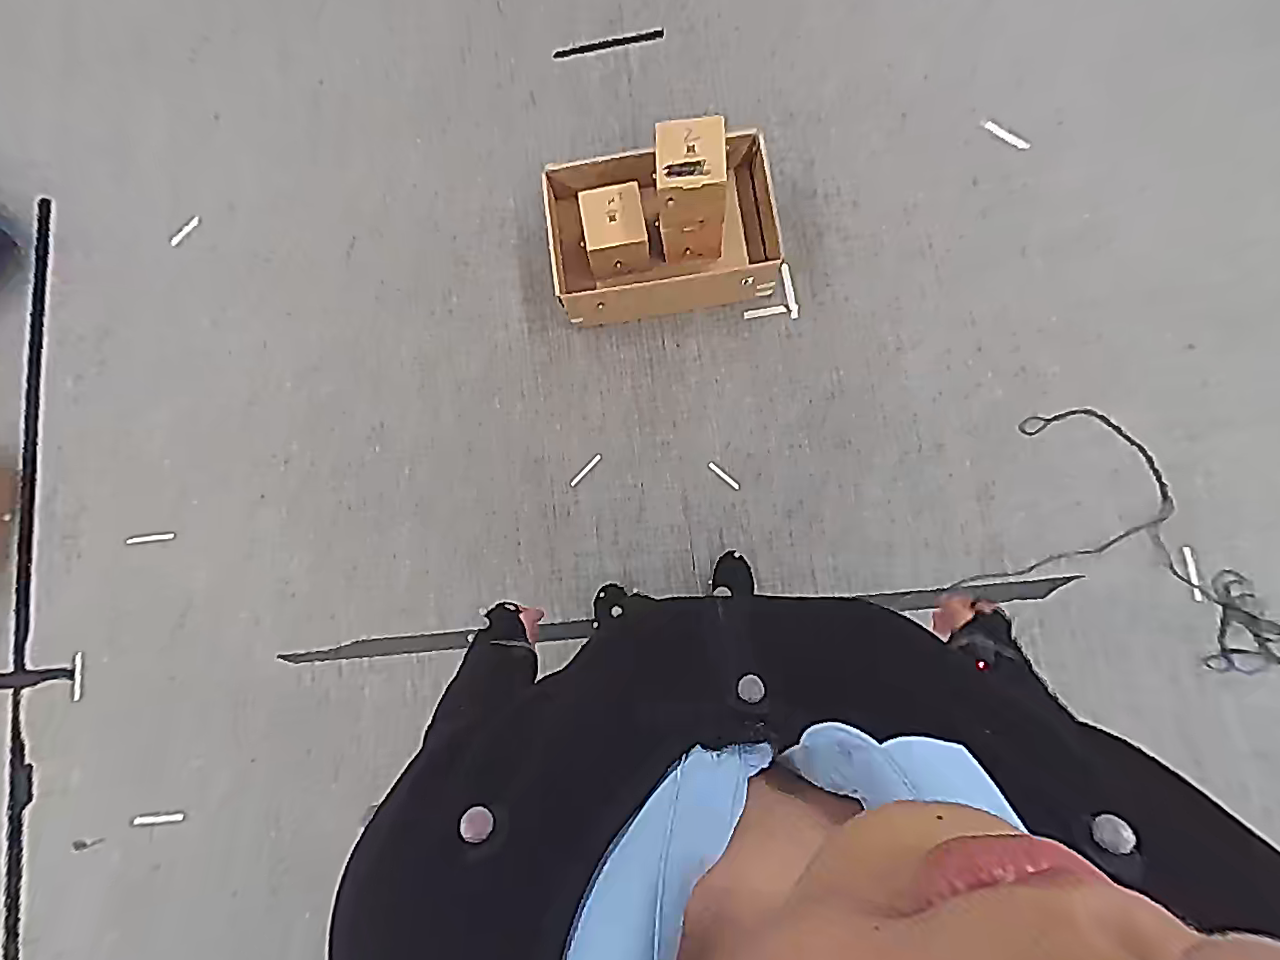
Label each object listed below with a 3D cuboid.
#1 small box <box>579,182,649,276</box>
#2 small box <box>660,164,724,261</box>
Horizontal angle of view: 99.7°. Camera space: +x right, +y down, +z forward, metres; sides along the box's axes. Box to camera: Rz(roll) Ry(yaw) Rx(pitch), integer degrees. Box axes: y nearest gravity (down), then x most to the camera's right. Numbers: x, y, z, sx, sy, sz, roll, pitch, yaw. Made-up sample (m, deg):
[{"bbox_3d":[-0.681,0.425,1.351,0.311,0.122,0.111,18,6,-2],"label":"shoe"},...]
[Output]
[{"bbox_3d":[-0.067,-0.694,1.519,0.168,0.176,0.179,-10,82,1],"label":"small box"},{"bbox_3d":[0.144,-0.742,1.512,0.168,0.176,0.179,-4,83,6],"label":"small box"}]
